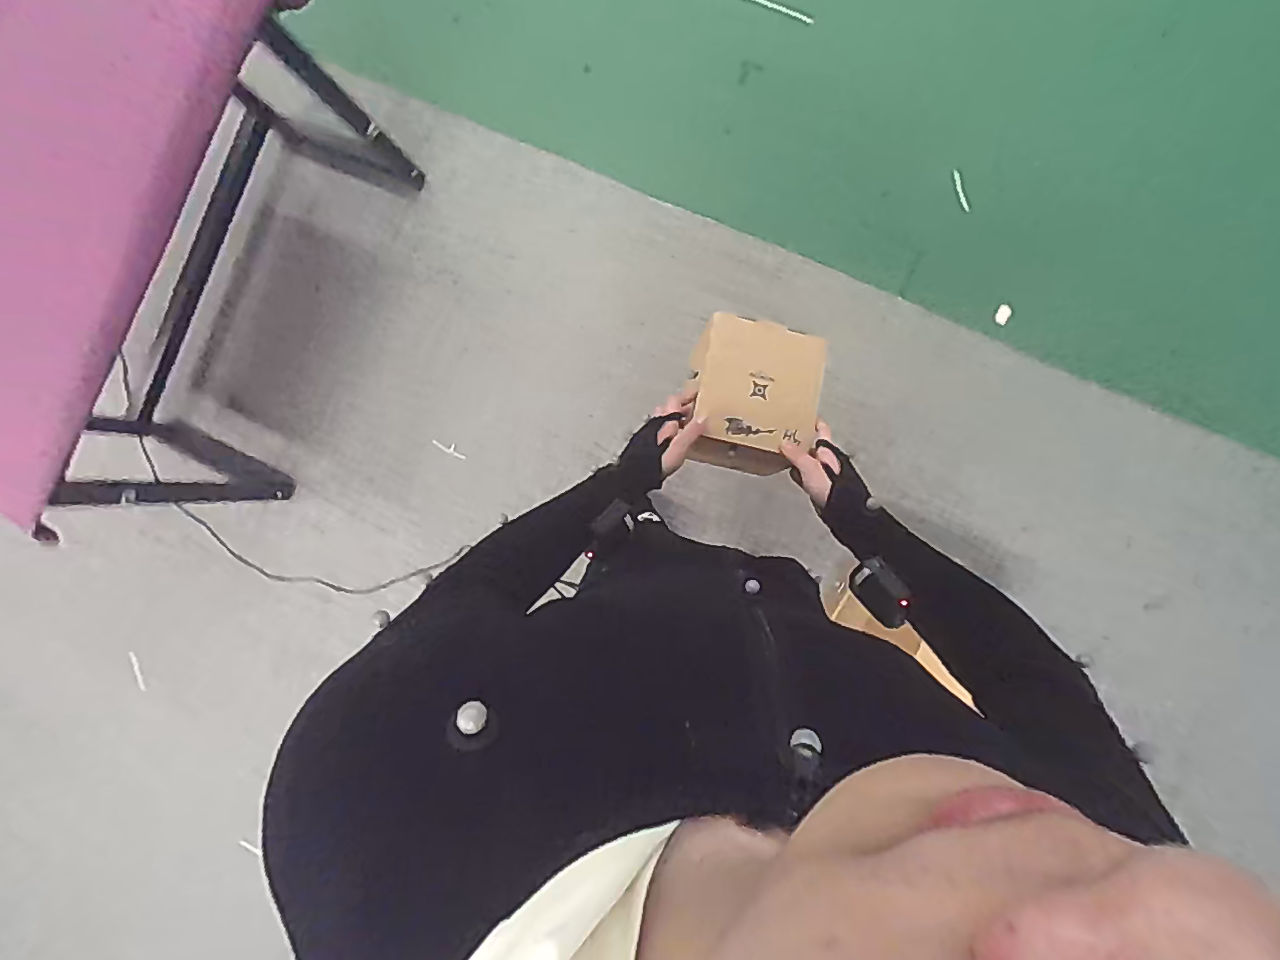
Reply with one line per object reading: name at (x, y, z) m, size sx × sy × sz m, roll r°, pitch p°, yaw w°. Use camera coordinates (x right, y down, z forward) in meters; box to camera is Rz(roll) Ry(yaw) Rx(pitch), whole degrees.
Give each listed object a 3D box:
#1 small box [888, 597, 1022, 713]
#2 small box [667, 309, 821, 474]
small box at (0.712, 0.391, 1.244) m, size 0.179 × 0.176 × 0.168 m, roll 31°, pitch 94°, yaw 6°
small box at (0.142, -0.117, 0.788) m, size 0.168 × 0.176 × 0.179 m, roll 11°, pitch 81°, yaw -4°
